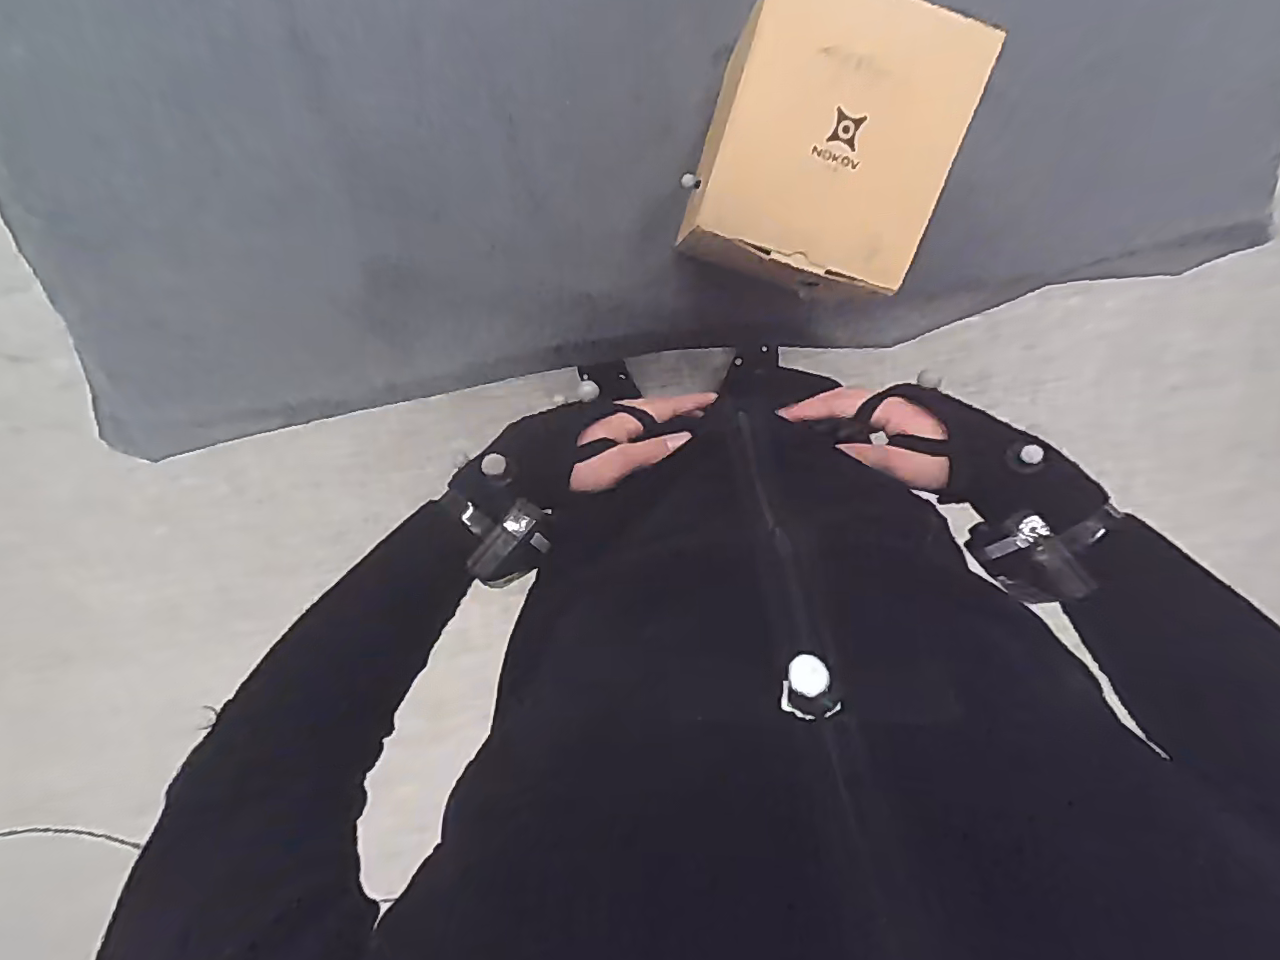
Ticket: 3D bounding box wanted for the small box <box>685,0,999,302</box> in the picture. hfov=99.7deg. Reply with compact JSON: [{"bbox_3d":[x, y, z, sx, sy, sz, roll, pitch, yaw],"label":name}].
[{"bbox_3d":[0.141,-0.259,0.457,0.168,0.176,0.179,14,106,-7],"label":"small box"}]
